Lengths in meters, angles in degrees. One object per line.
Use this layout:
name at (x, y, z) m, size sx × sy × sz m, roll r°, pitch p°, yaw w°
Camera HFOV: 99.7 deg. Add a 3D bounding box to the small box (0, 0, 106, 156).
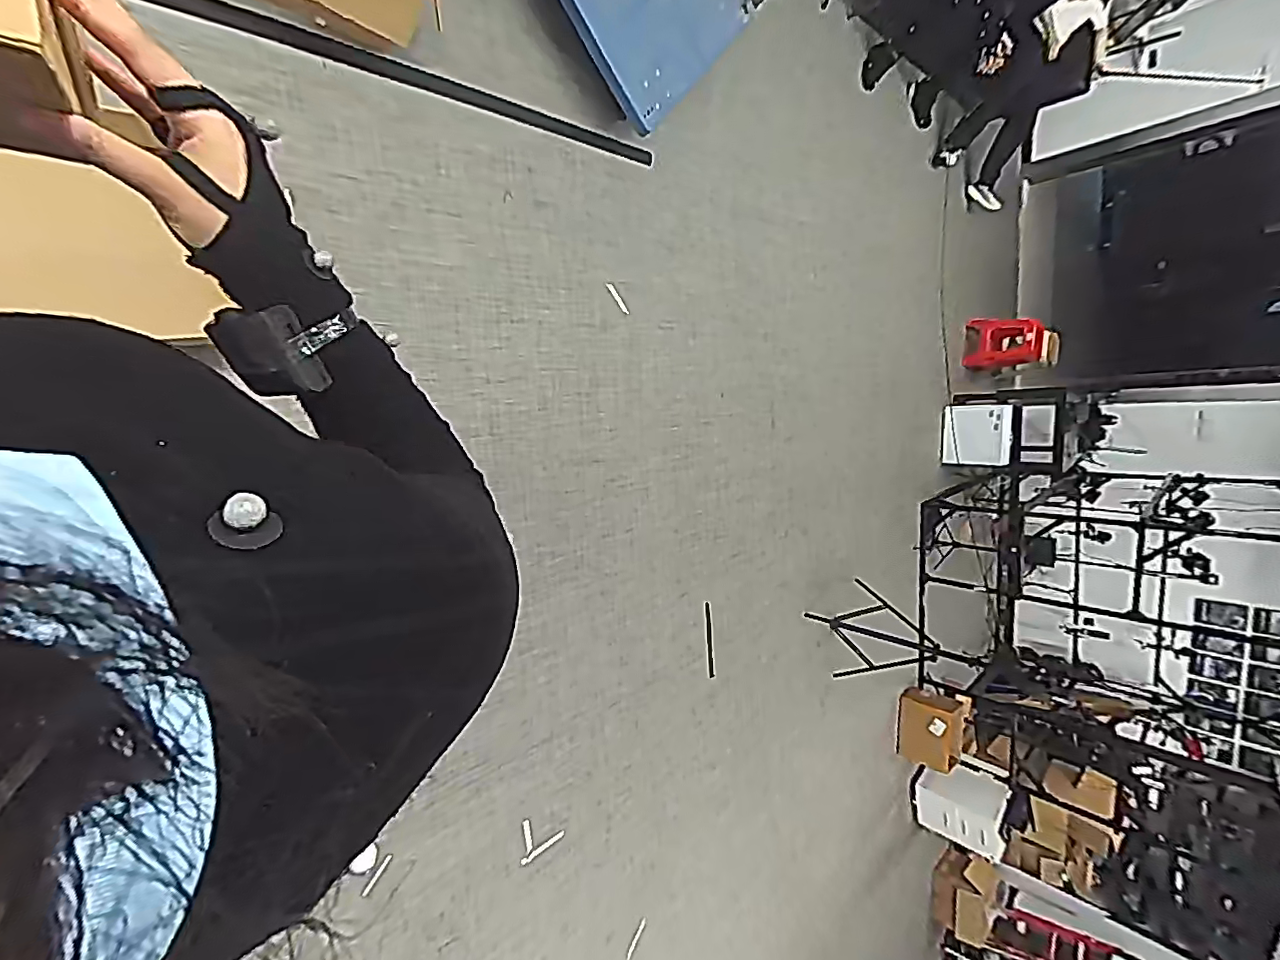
small box at (-0.348, -0.263, 0.216) m, size 0.168 × 0.176 × 0.179 m, roll -9°, pitch 107°, yaw -38°
